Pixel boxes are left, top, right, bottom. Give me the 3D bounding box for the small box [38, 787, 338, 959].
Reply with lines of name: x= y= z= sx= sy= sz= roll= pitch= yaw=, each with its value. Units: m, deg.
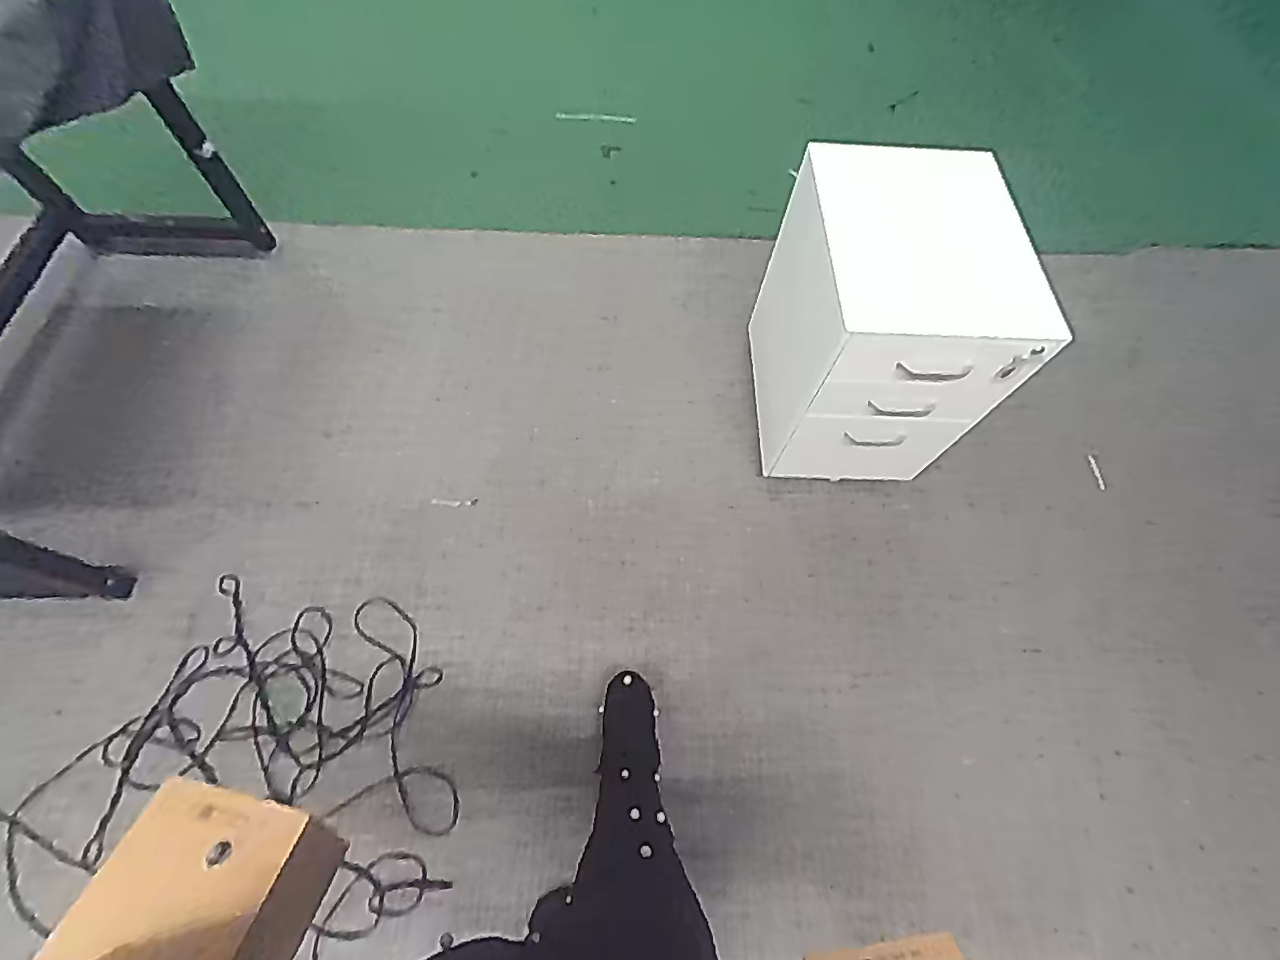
small box: x=-0.464 y=0.467 z=0.588 sx=0.168 sy=0.179 sz=0.176 roll=15 pitch=44 yaw=1
